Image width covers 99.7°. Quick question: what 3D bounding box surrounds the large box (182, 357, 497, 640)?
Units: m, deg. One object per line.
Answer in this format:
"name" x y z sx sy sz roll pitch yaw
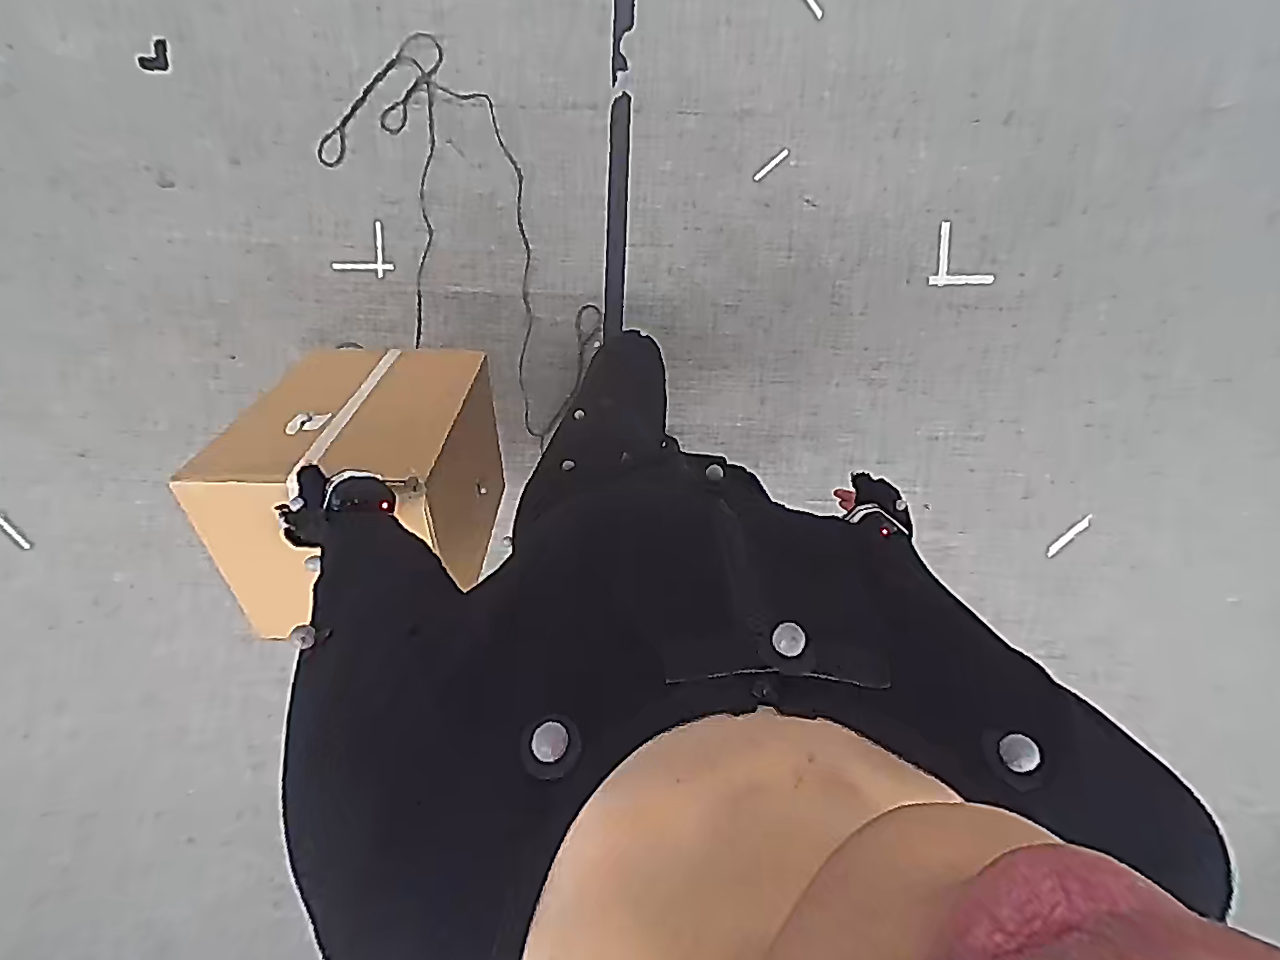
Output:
"large box" -0.442 0.015 0.930 0.320 0.408 0.320 -1 127 -3
